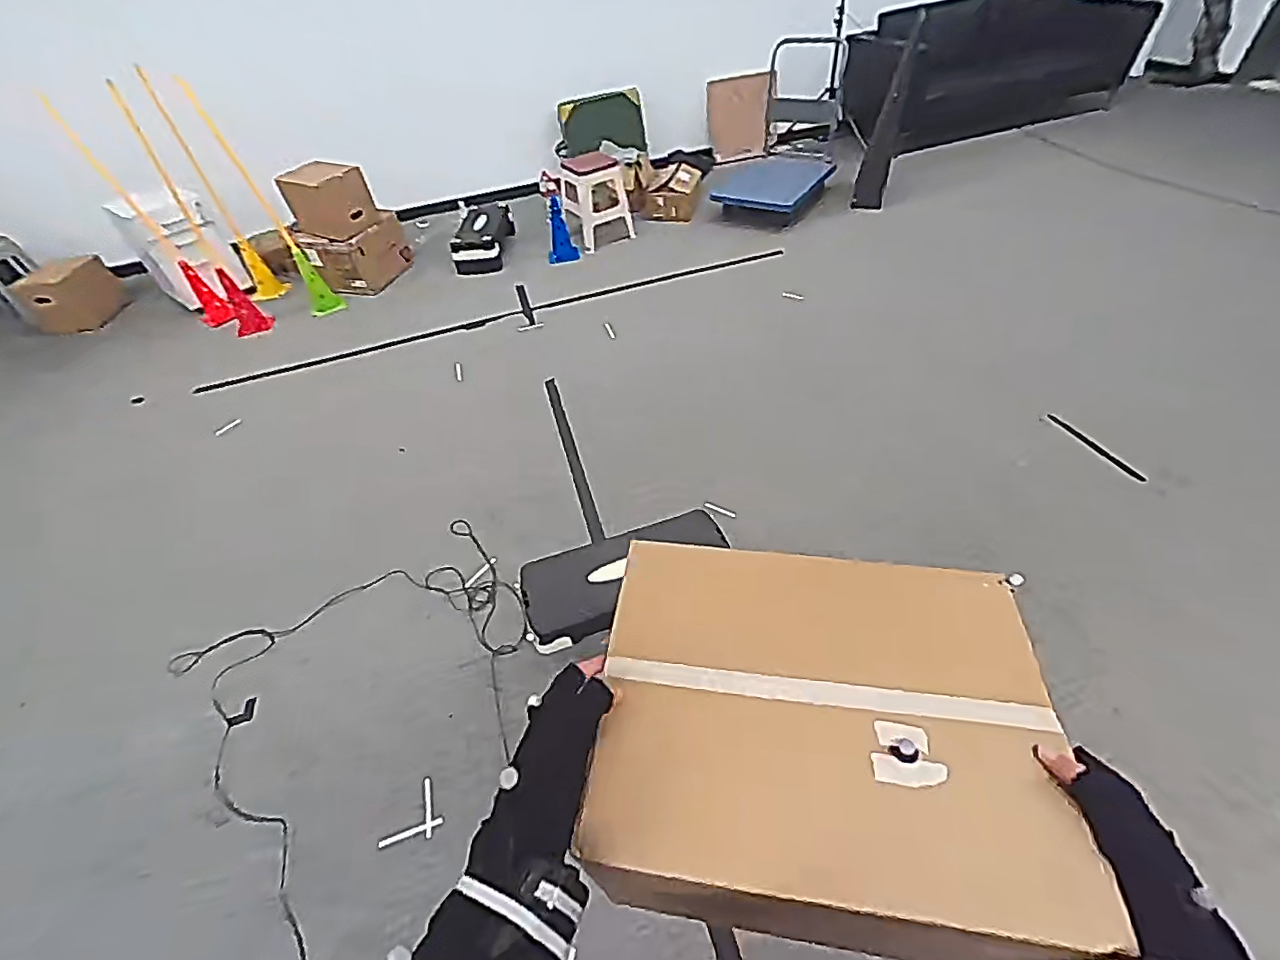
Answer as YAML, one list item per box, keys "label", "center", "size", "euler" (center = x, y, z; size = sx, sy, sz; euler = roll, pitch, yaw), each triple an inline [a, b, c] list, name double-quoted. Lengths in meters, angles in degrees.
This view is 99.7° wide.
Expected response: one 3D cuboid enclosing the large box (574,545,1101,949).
- label: "large box"
  center: [0.166, 0.300, 0.623]
  size: [0.408, 0.320, 0.320]
  euler: [4, 48, 8]
